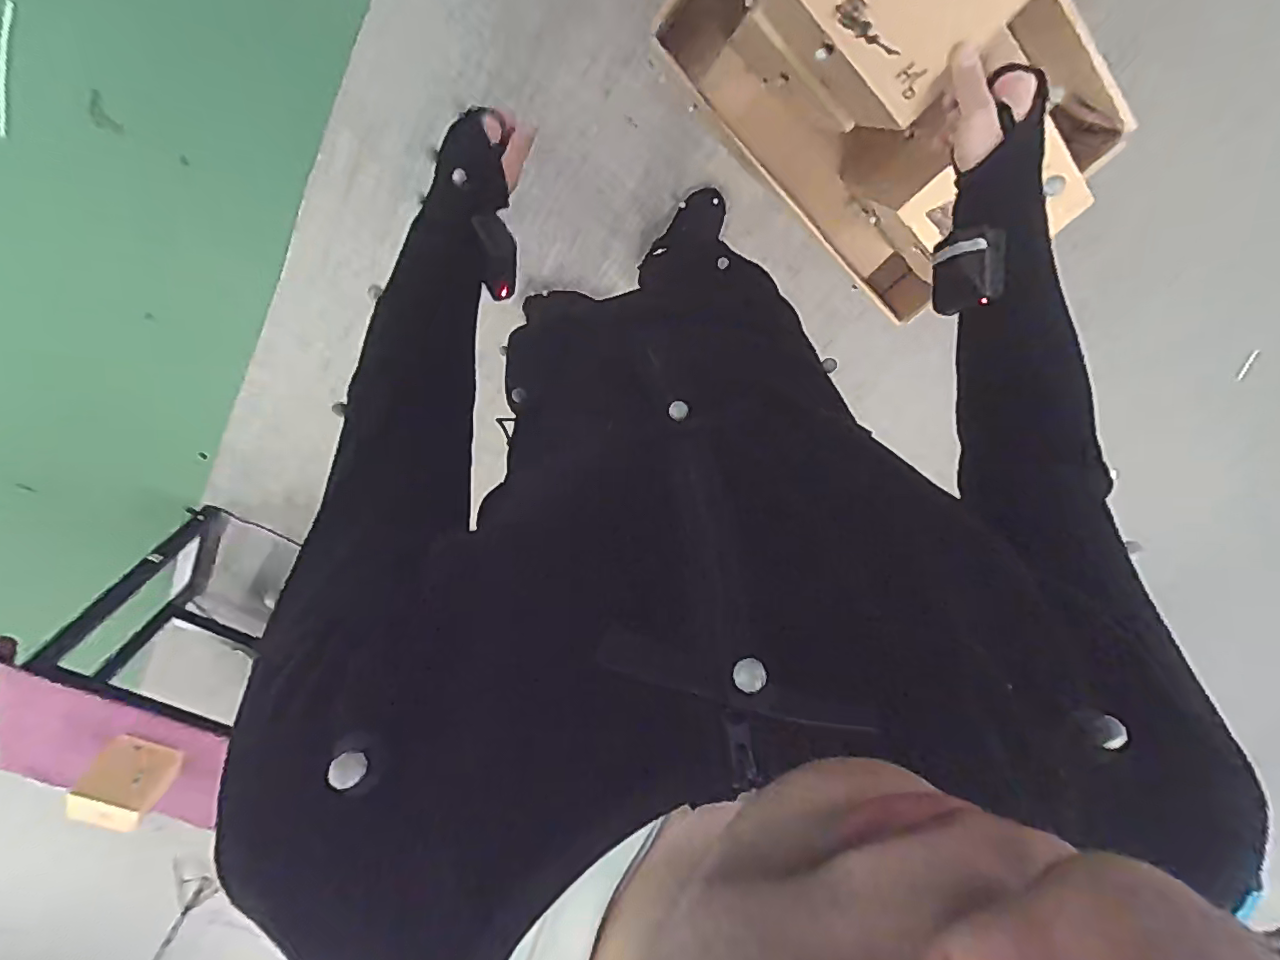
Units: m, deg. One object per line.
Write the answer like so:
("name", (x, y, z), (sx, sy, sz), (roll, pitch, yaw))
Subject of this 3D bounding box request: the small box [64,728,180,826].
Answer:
("small box", (-1.425, 0.819, 1.497), (0.168, 0.176, 0.179), (30, 123, -17))

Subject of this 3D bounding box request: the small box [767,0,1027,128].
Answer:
("small box", (0.238, -0.464, 0.495), (0.168, 0.176, 0.179), (36, 119, -19))

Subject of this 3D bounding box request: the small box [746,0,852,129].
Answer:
("small box", (0.240, -0.553, 0.633), (0.168, 0.176, 0.179), (36, 120, -20))

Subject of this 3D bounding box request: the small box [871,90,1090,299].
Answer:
("small box", (0.443, -0.385, 0.739), (0.168, 0.176, 0.179), (40, 117, -21))
